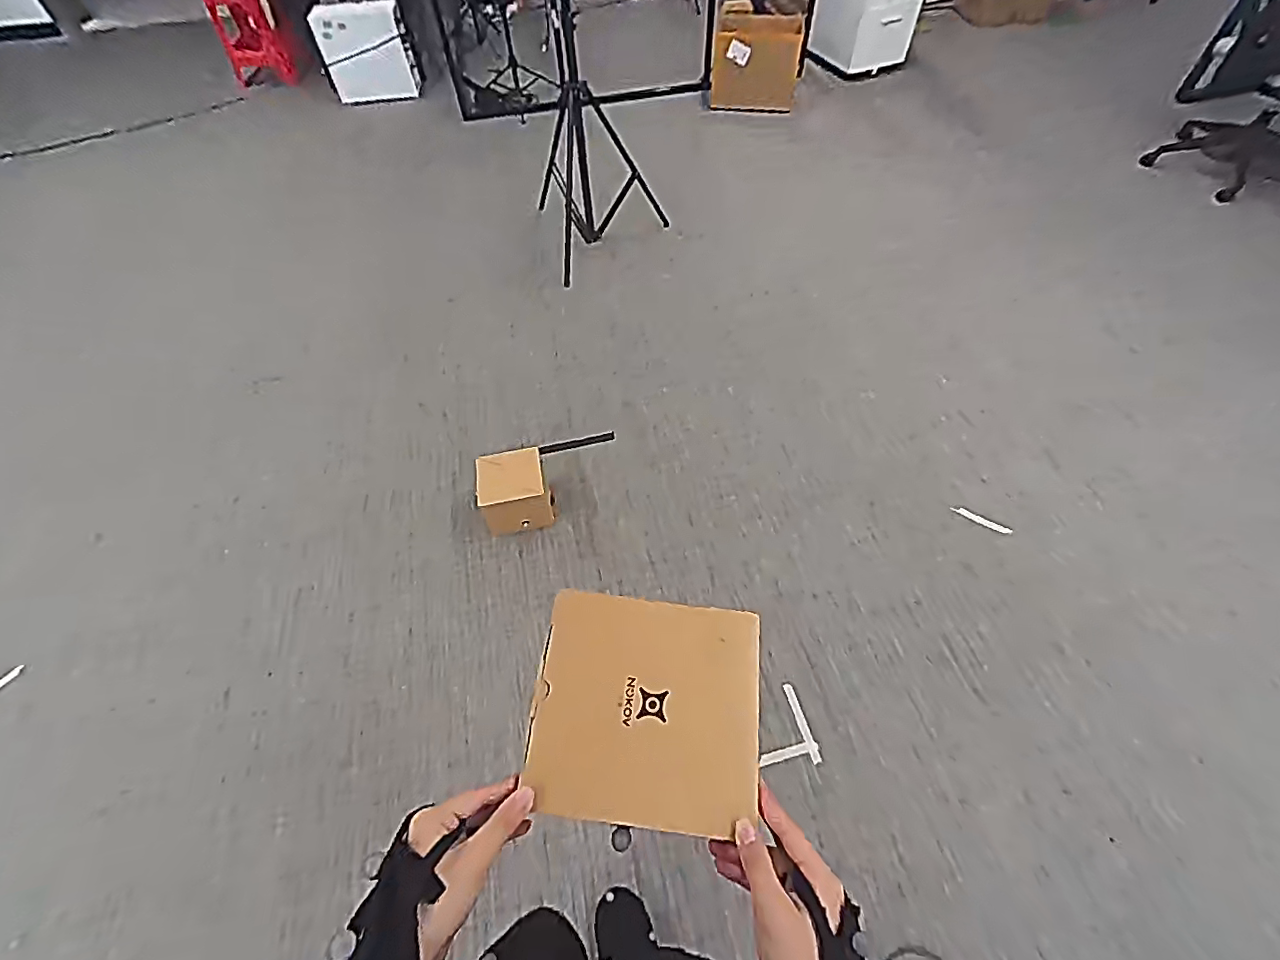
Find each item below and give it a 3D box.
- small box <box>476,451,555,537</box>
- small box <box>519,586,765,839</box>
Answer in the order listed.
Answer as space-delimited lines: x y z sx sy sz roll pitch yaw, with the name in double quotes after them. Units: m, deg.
-0.349 0.038 1.527 0.179 0.176 0.168 -10 56 -6 "small box"
0.008 0.210 0.490 0.179 0.176 0.168 6 60 4 "small box"
